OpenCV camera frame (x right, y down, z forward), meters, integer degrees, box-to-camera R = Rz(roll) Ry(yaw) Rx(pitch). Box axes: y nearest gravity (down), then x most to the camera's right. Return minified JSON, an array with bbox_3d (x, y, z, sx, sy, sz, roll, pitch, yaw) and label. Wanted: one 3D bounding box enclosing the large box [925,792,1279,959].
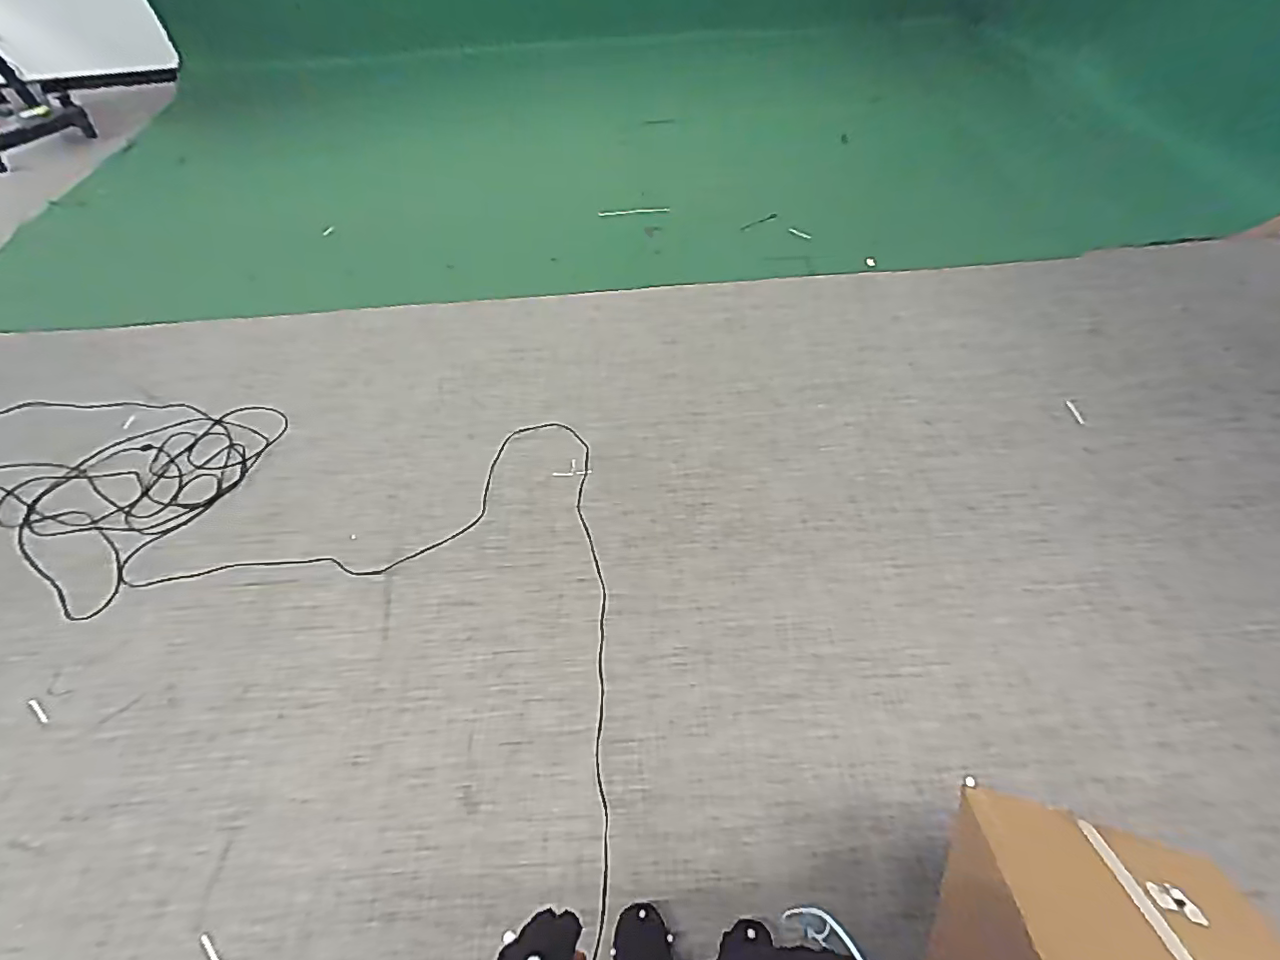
[{"bbox_3d":[0.560,0.666,0.625,0.320,0.408,0.320,12,94,17],"label":"large box"}]
